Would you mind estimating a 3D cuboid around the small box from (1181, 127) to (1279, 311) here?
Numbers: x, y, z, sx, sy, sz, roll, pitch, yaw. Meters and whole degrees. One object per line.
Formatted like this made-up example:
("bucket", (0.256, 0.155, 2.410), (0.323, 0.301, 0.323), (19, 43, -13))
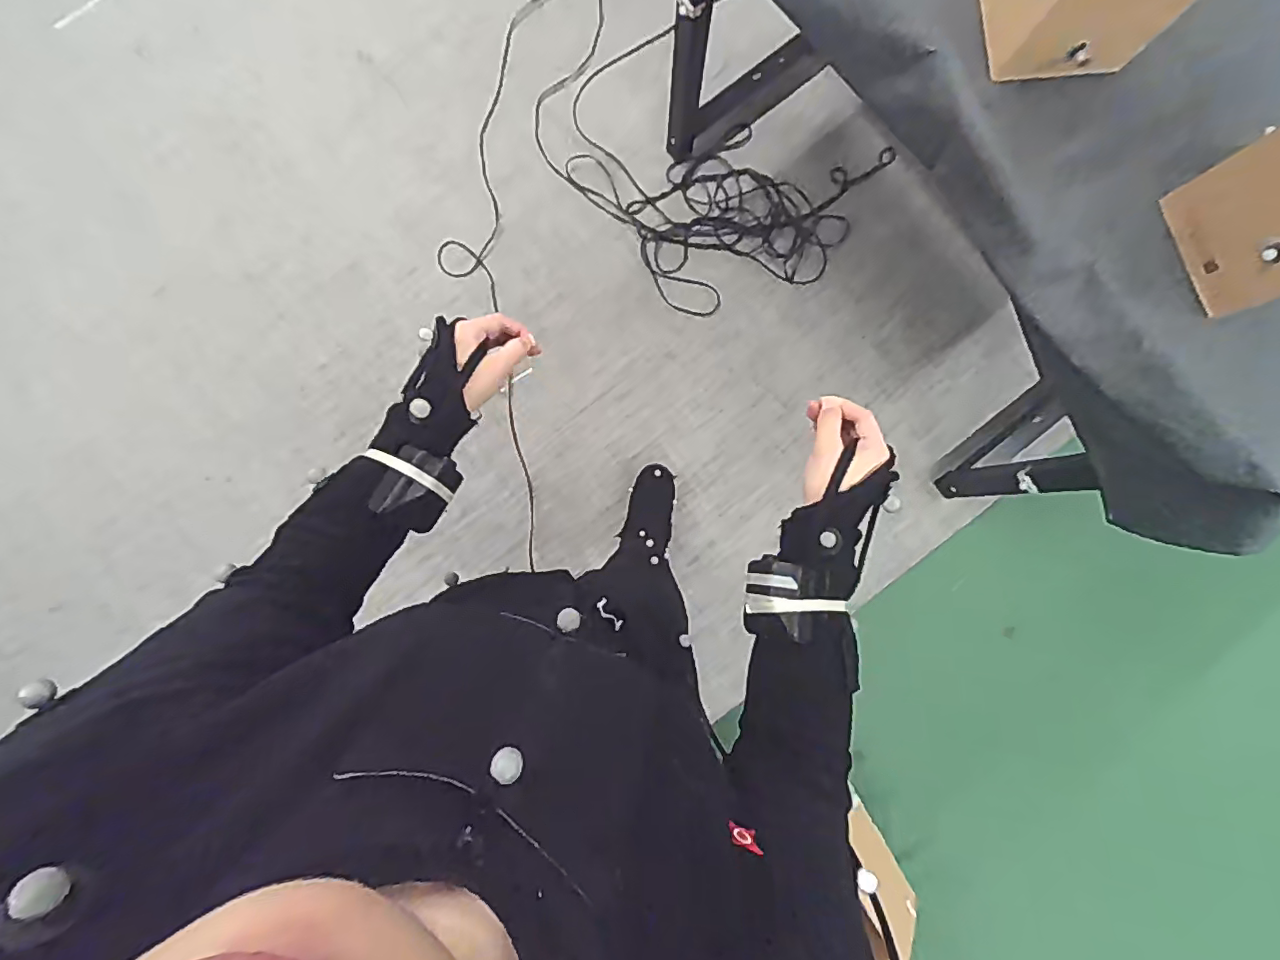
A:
("small box", (0.755, -0.308, 0.586), (0.179, 0.176, 0.168), (-19, 87, -3))
